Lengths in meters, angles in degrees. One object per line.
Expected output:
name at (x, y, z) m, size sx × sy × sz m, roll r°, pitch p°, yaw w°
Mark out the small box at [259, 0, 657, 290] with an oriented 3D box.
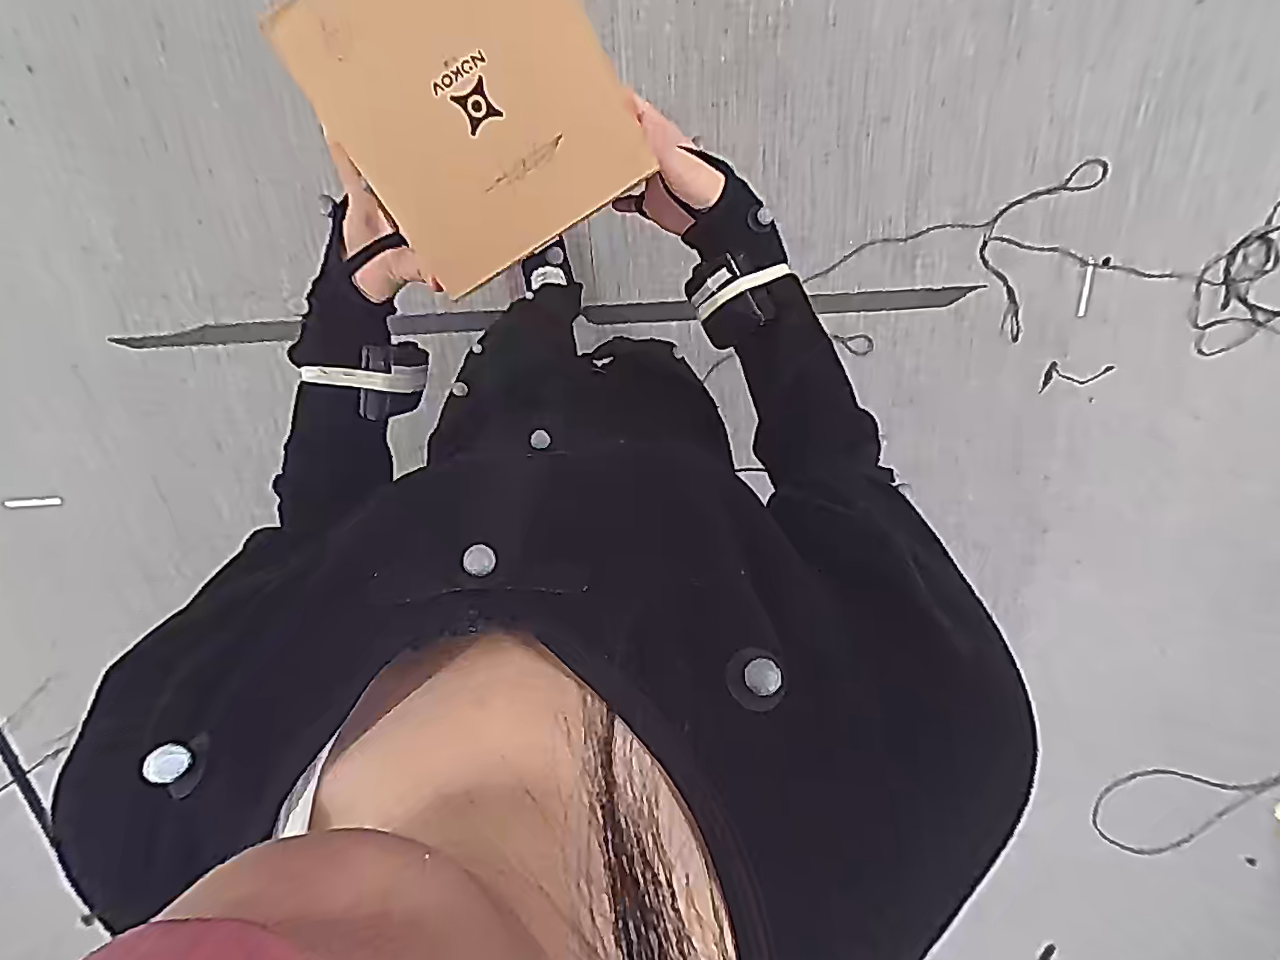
small box at (-0.108, -0.262, 0.393) m, size 0.168 × 0.176 × 0.179 m, roll -30°, pitch 114°, yaw 7°
